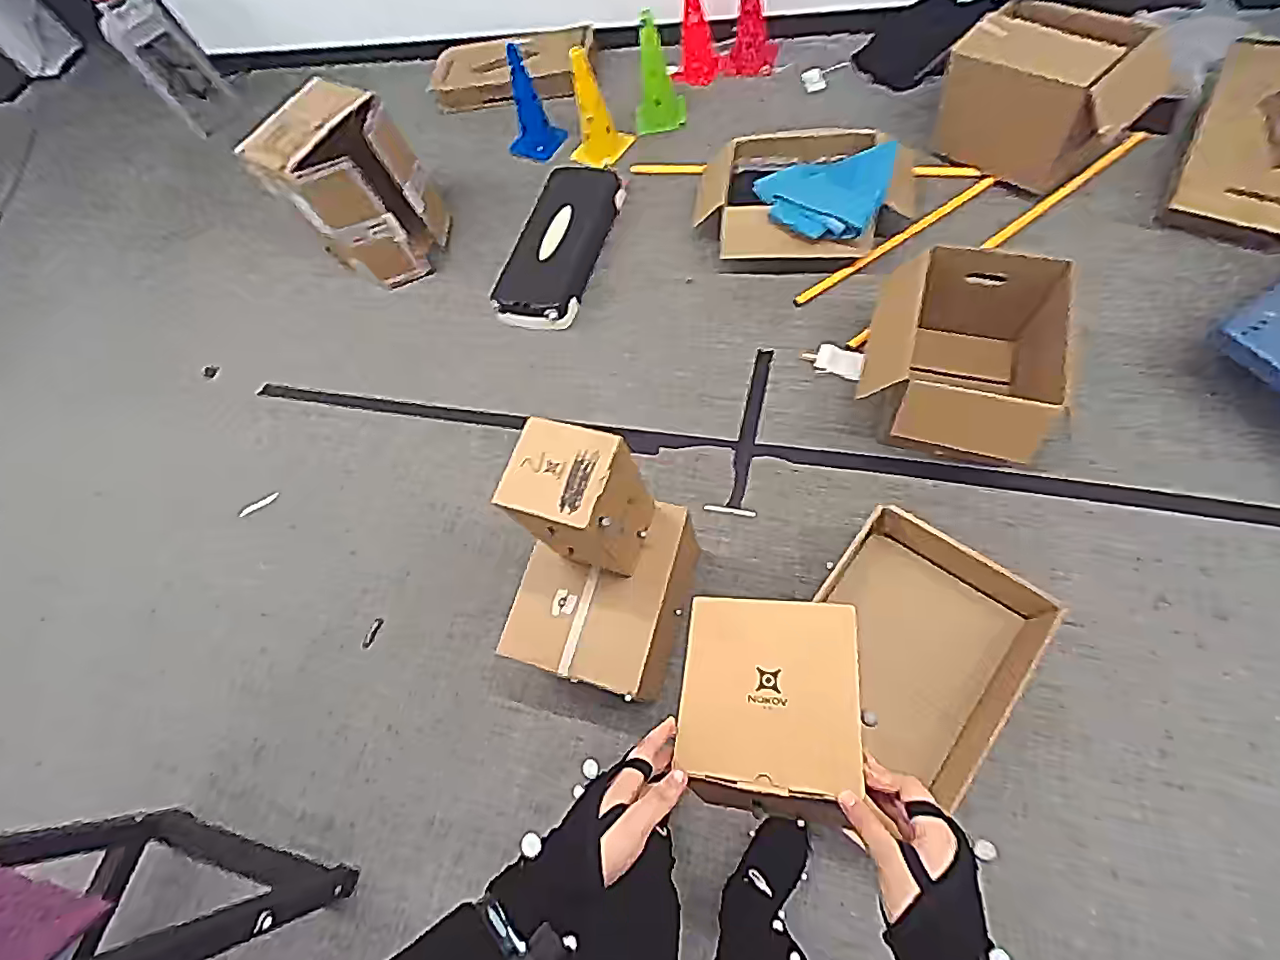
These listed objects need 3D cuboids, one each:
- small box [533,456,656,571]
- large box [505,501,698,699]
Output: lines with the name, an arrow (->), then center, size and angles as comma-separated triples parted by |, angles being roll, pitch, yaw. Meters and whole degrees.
small box -> -0.083, 0.073, 1.096 | 0.179, 0.176, 0.168 | 14, 72, 17
large box -> -0.060, 0.269, 1.279 | 0.320, 0.320, 0.408 | 11, 70, 17
